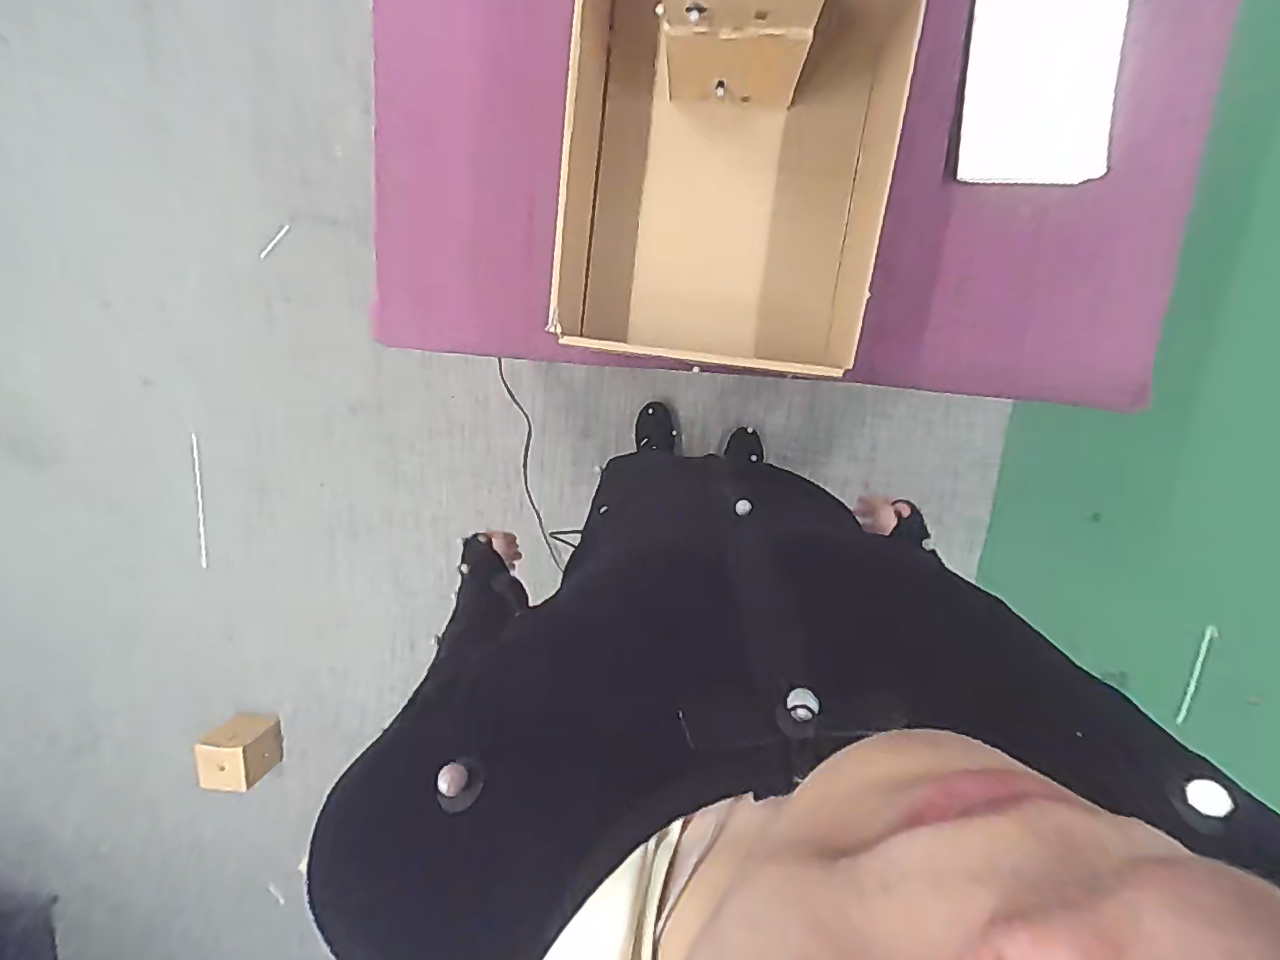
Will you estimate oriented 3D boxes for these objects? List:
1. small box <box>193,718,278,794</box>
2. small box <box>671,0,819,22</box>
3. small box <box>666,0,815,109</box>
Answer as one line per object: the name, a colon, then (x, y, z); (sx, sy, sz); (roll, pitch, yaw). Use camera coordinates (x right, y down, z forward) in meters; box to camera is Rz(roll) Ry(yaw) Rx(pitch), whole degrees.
small box: (-1.400, 0.957, 1.887); (0.179, 0.176, 0.168); (3, 99, 6)
small box: (0.107, -0.572, 0.502); (0.168, 0.176, 0.179); (5, 101, 5)
small box: (0.123, -0.596, 0.664); (0.168, 0.176, 0.179); (5, 102, 5)
